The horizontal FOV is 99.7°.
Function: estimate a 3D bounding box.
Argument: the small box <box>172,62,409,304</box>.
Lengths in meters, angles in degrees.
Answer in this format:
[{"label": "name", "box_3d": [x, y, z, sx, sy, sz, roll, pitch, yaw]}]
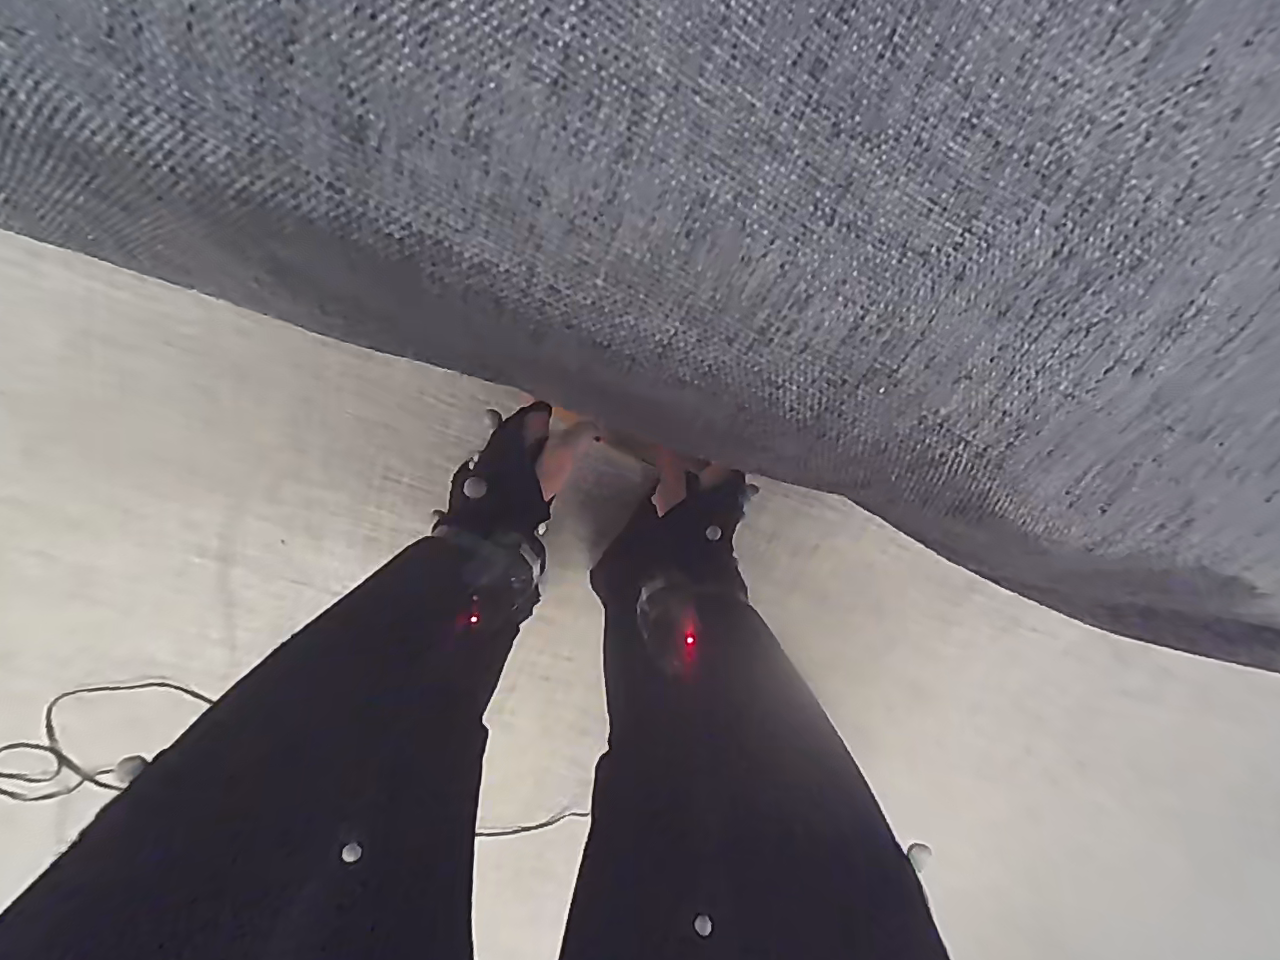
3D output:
[{"label": "small box", "box_3d": [-0.384, -0.323, 0.622, 0.168, 0.176, 0.179, 18, 111, -11]}]

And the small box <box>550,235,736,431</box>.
[{"label": "small box", "box_3d": [-0.002, -0.193, 0.704, 0.168, 0.176, 0.179, 23, 108, -14]}]
